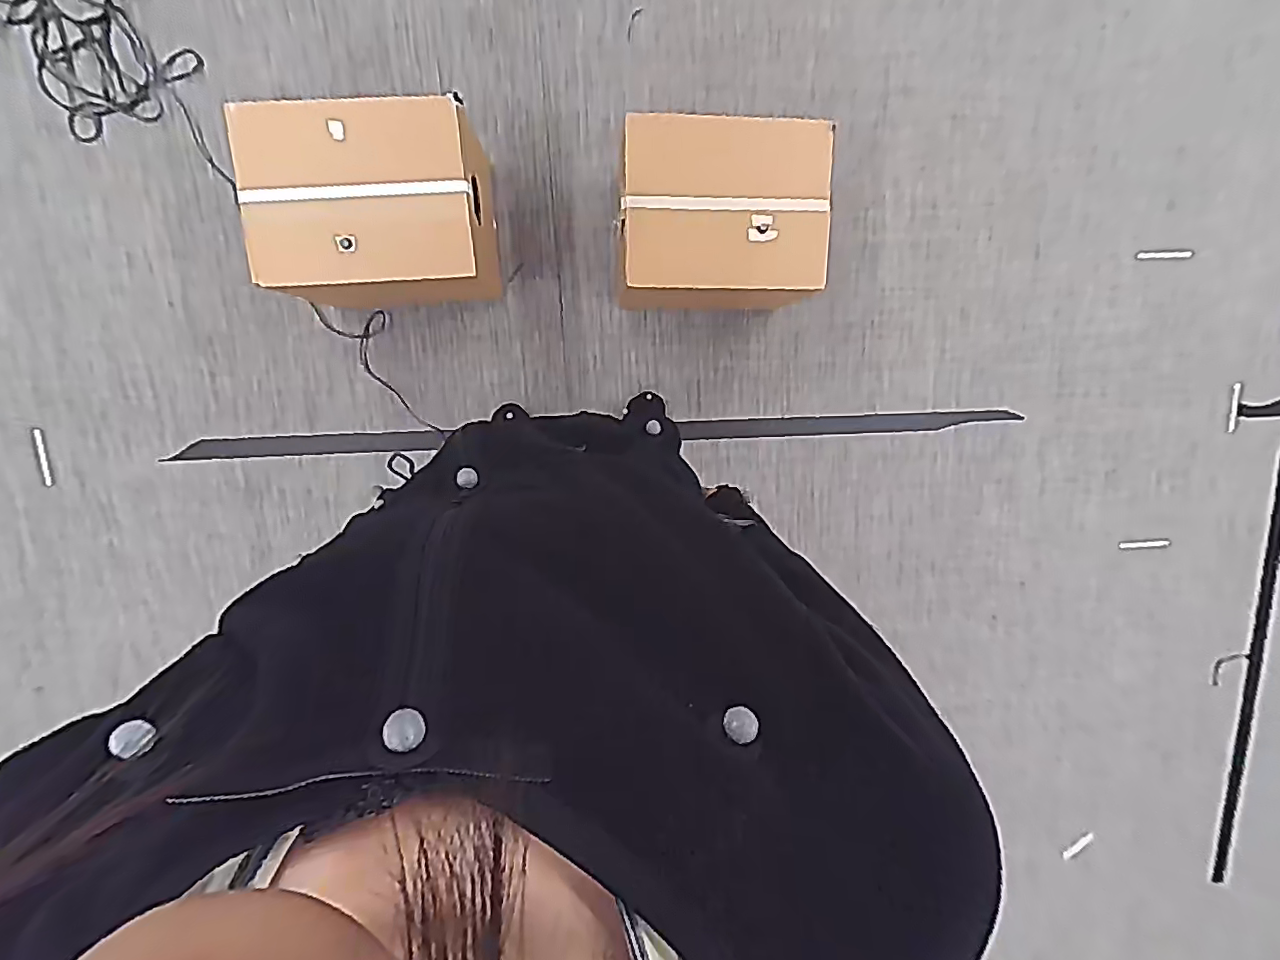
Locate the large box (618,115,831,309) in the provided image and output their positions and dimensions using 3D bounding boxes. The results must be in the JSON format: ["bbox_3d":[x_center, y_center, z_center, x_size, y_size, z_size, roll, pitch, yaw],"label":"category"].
[{"bbox_3d":[0.161,-0.562,1.201,0.408,0.320,0.320,-1,100,-6],"label":"large box"}]
